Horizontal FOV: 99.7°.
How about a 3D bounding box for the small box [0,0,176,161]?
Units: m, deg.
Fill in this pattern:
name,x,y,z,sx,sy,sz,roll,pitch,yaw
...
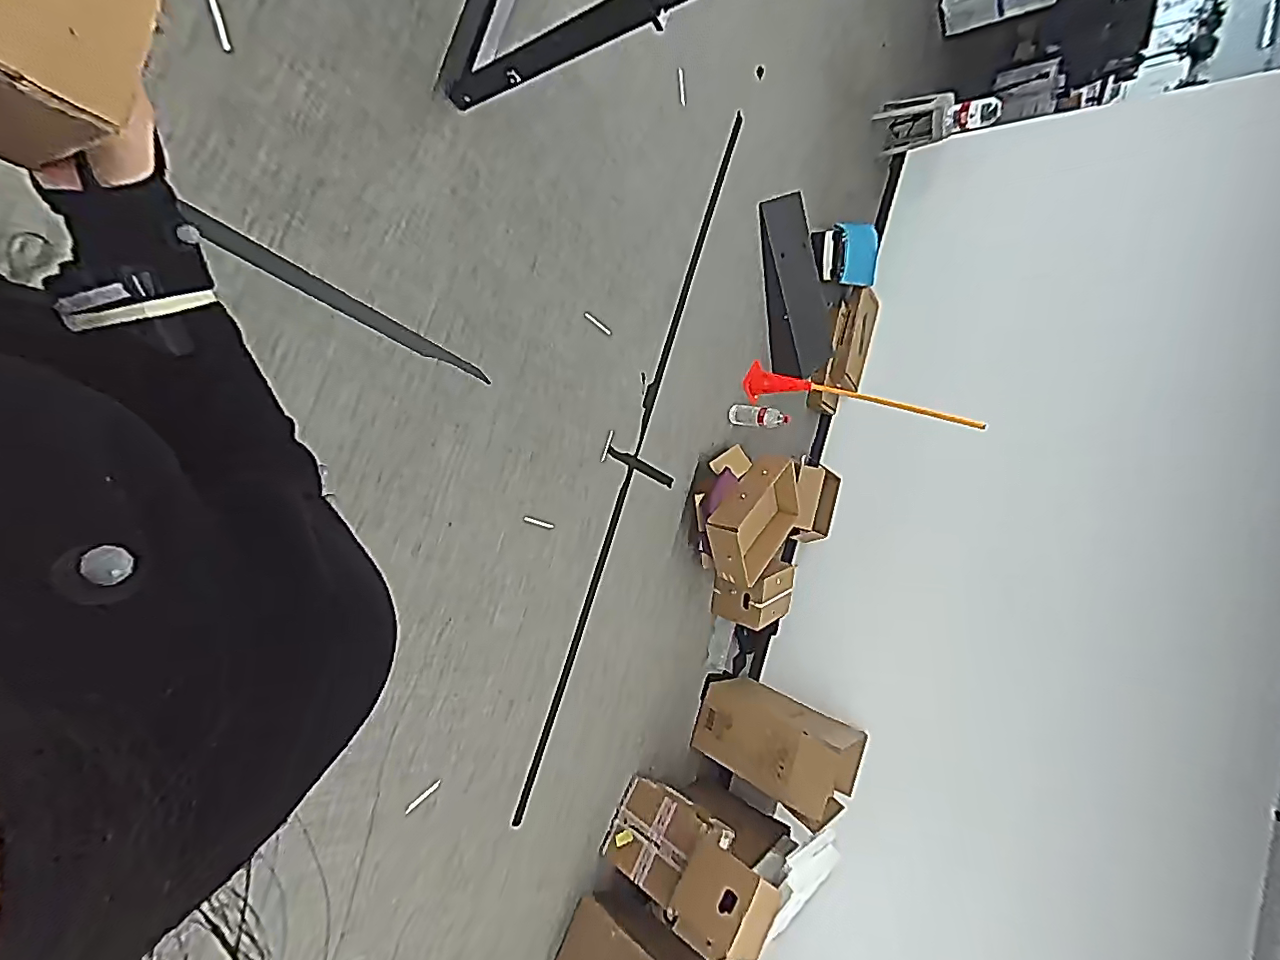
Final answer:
name,x,y,z,sx,sy,sz,roll,pitch,yaw
small box,-0.314,-0.263,0.219,0.168,0.176,0.179,18,85,-60
